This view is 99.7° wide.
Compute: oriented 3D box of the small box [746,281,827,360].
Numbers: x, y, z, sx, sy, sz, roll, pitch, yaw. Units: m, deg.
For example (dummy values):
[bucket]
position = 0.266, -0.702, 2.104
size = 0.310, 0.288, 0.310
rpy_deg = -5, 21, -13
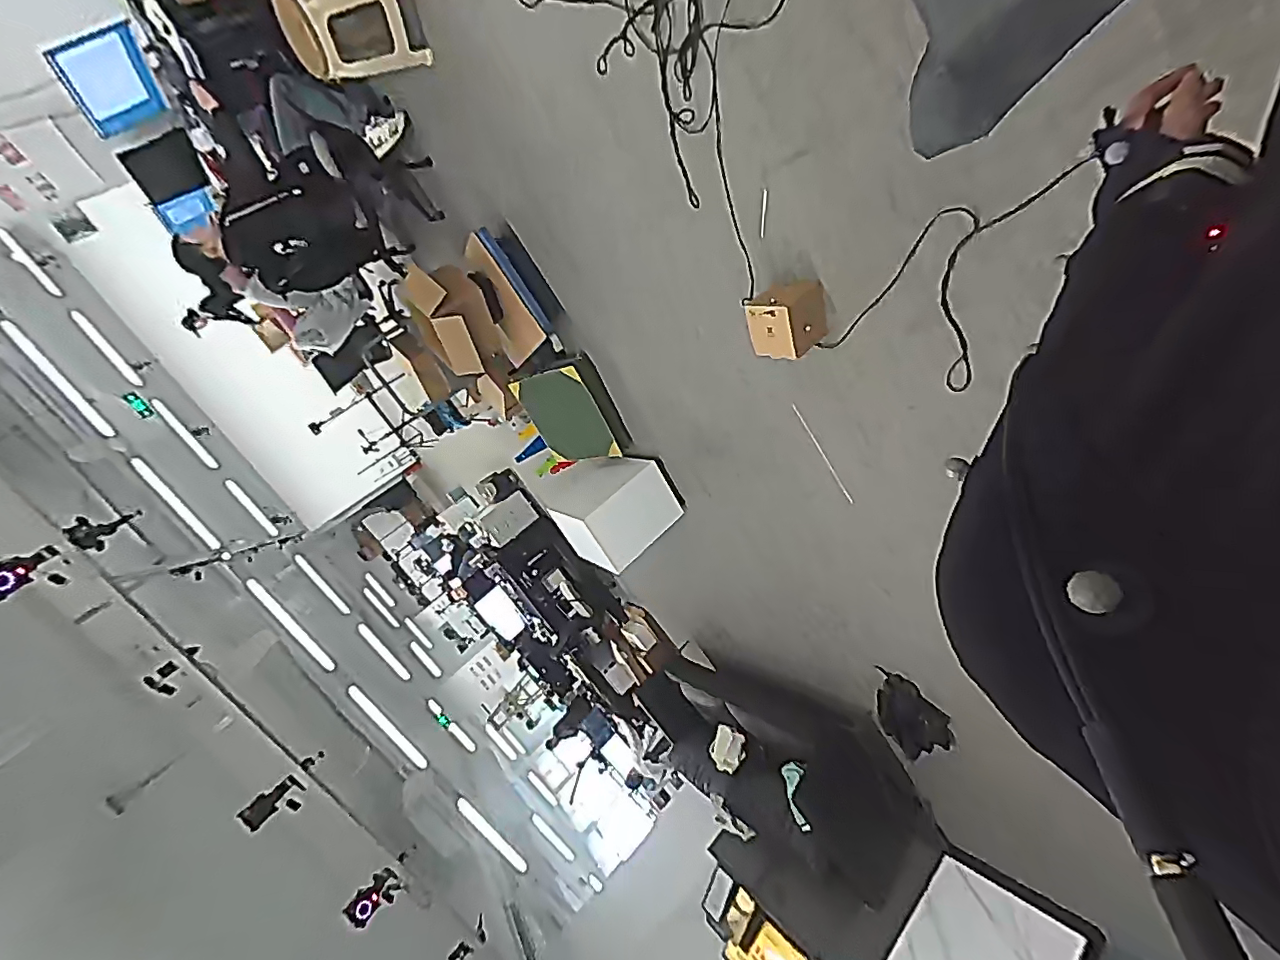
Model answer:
[small box]
position = 0.464, -0.499, 1.687
size = 0.168, 0.176, 0.179
rpy_deg = 23, 145, 48
